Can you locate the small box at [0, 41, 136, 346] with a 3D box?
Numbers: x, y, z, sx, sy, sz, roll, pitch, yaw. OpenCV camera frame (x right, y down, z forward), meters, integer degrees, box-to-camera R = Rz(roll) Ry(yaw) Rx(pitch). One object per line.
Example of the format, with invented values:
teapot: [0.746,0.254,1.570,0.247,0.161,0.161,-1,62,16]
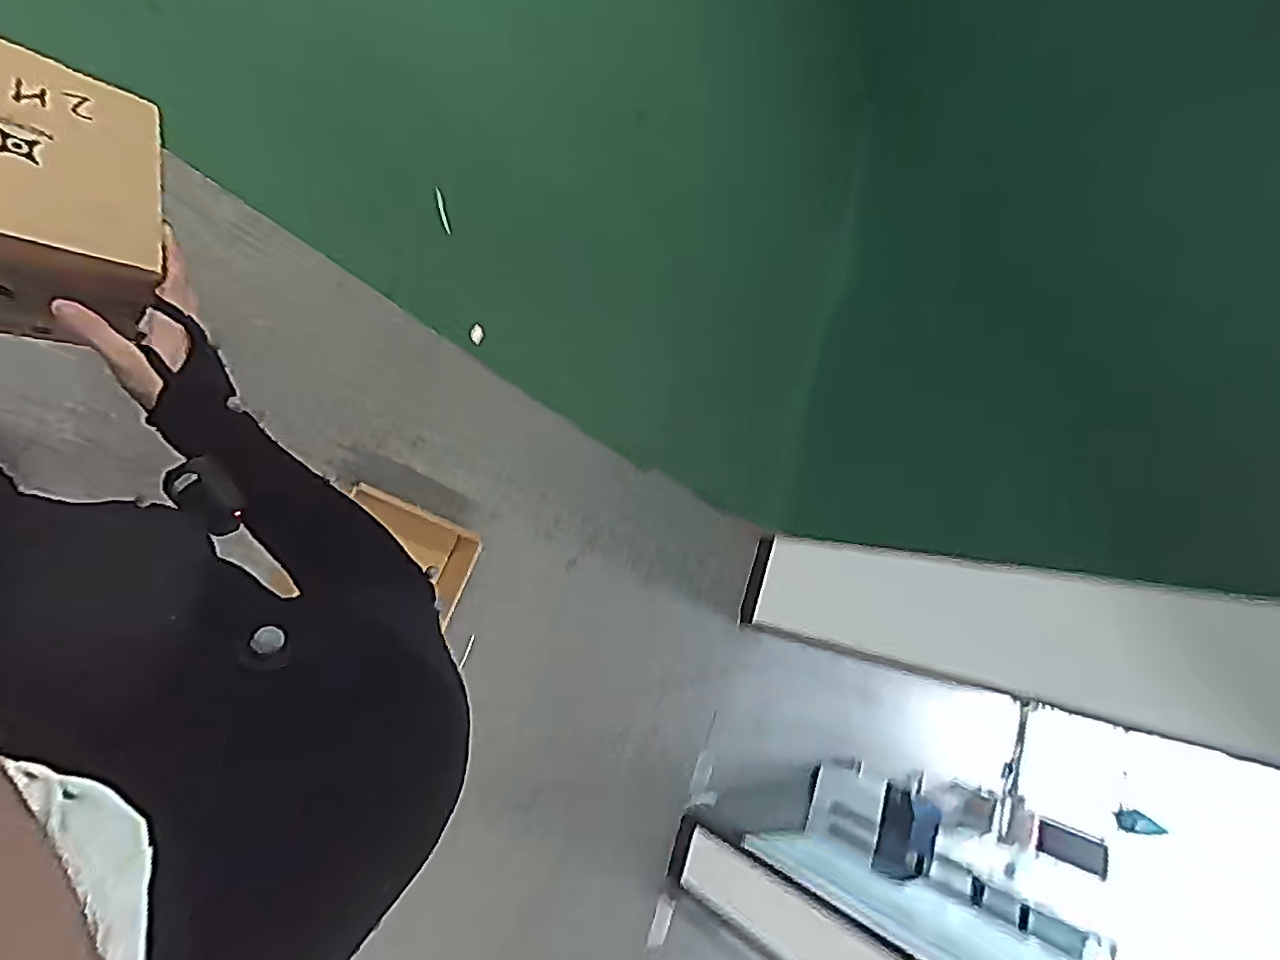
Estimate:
small box: [-0.540,-0.233,0.445,0.168,0.176,0.179,2,71,-52]
